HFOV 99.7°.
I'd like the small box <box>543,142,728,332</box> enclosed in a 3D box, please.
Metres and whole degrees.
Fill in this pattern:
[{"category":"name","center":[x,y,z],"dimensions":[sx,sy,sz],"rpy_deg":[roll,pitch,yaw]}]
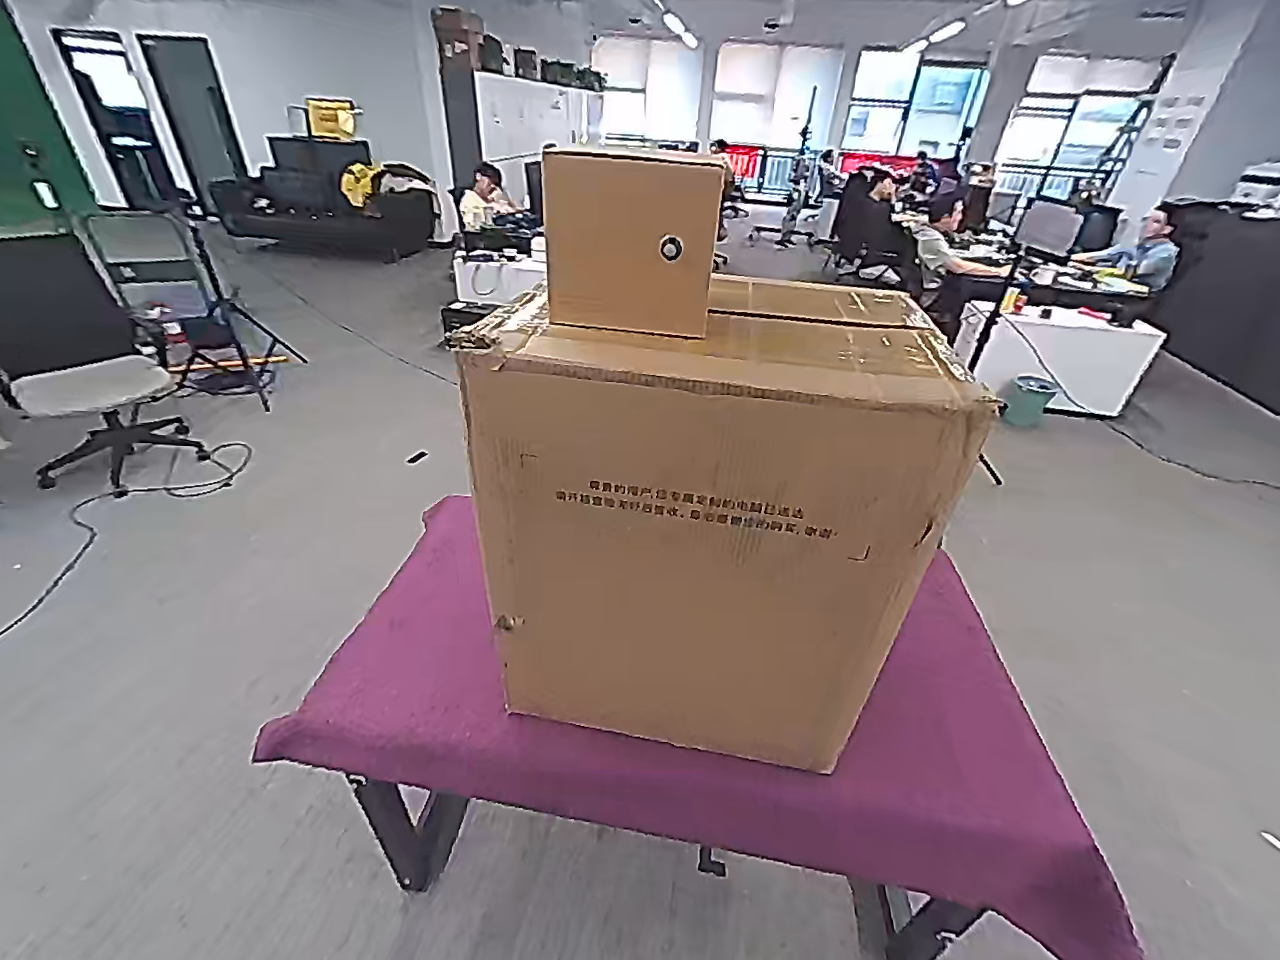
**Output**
[{"category":"small box","center":[-0.001,-0.276,0.612],"dimensions":[0.179,0.176,0.168],"rpy_deg":[6,33,4]}]
